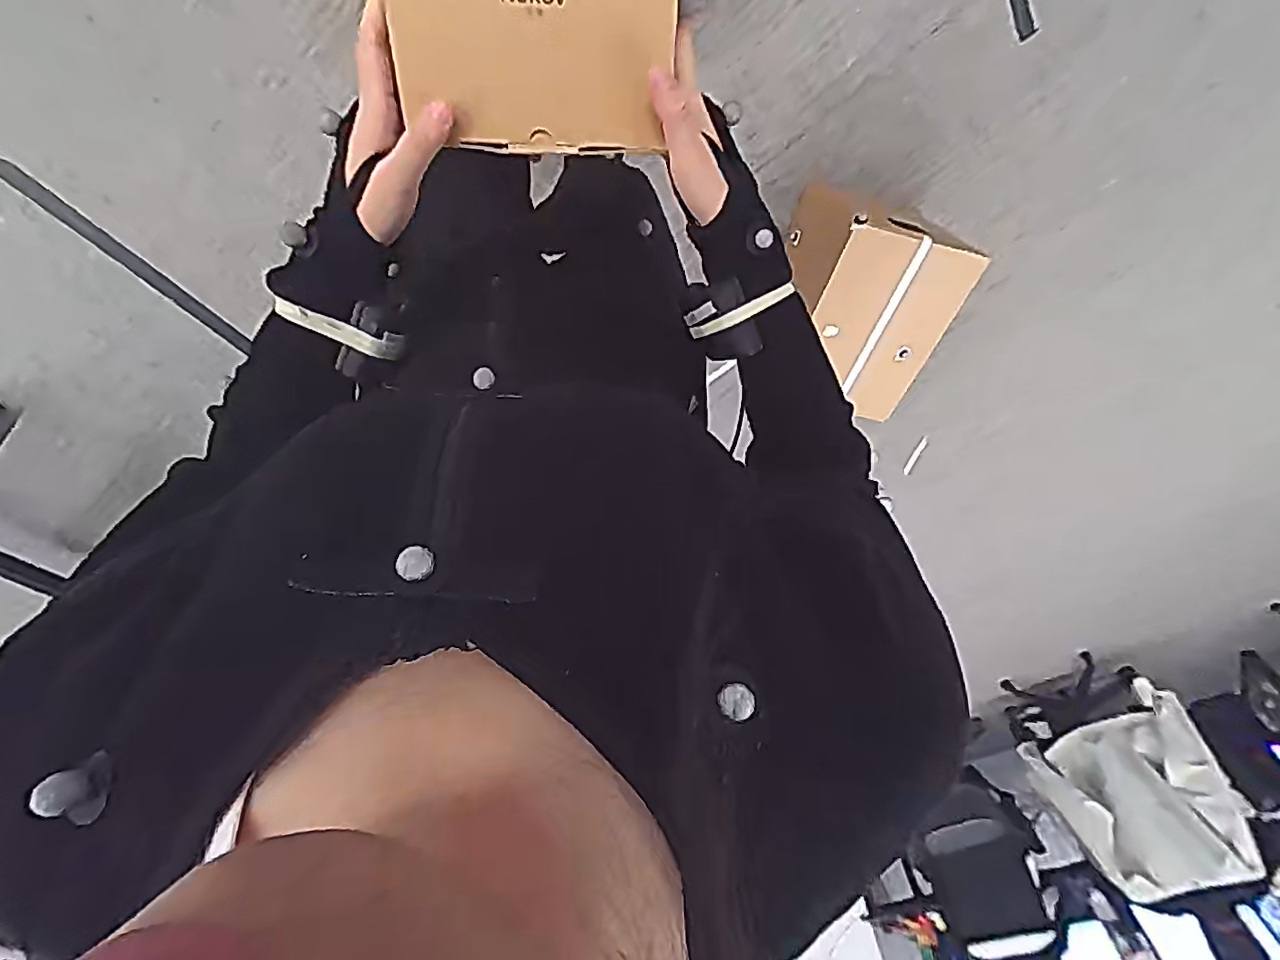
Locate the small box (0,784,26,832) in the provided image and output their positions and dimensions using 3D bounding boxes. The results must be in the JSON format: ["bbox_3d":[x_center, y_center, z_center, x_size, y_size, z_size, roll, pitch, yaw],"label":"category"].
[{"bbox_3d":[-1.672,0.840,1.310,0.179,0.176,0.168,-31,126,20],"label":"small box"}]
